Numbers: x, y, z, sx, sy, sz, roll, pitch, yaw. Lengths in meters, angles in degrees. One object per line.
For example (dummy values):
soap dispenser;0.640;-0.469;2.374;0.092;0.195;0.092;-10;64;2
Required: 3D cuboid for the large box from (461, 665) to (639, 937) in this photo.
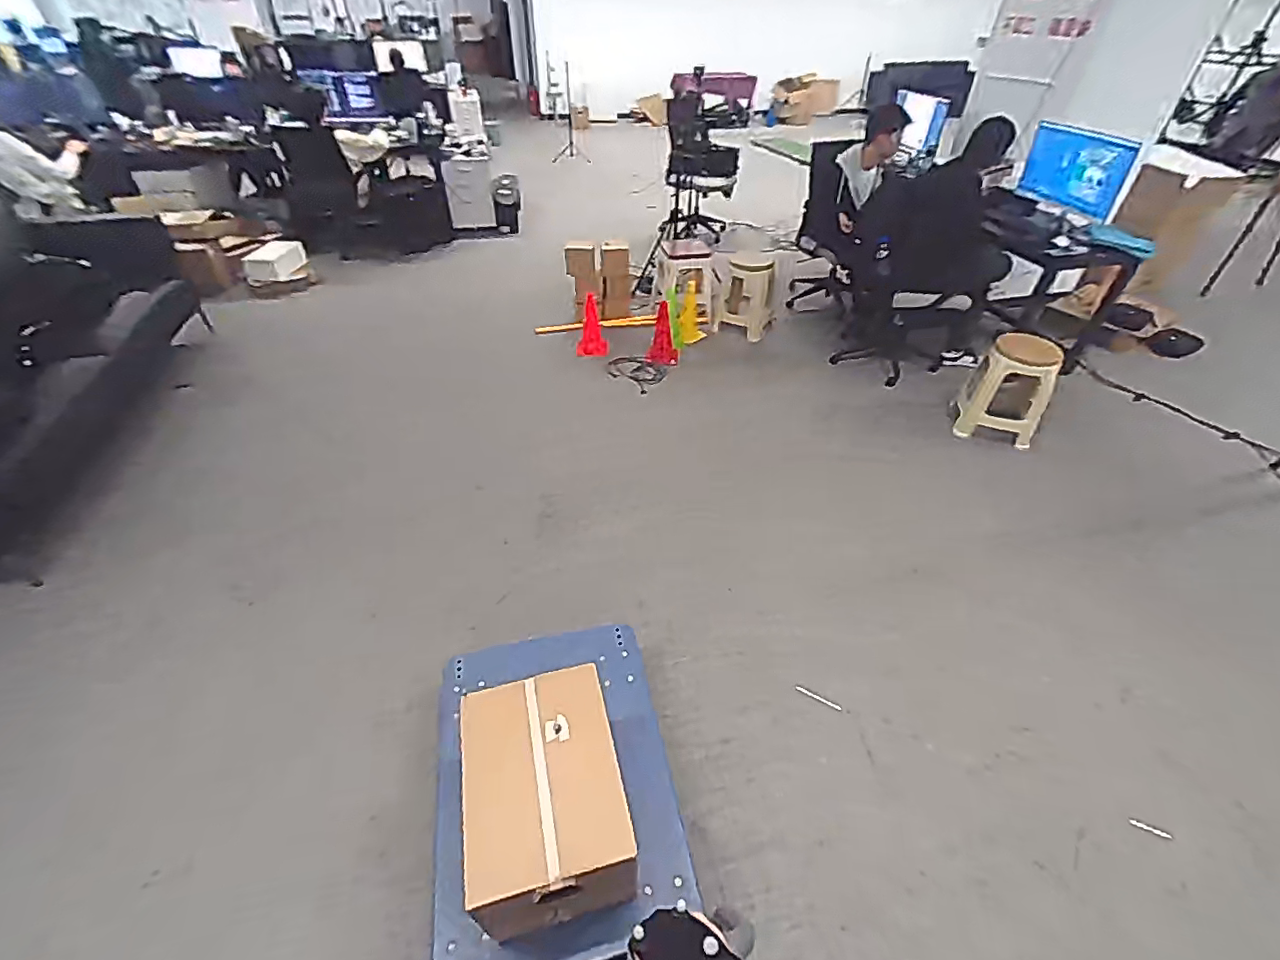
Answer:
large box;-0.204;0.706;1.216;0.320;0.320;0.408;-10;43;-11
